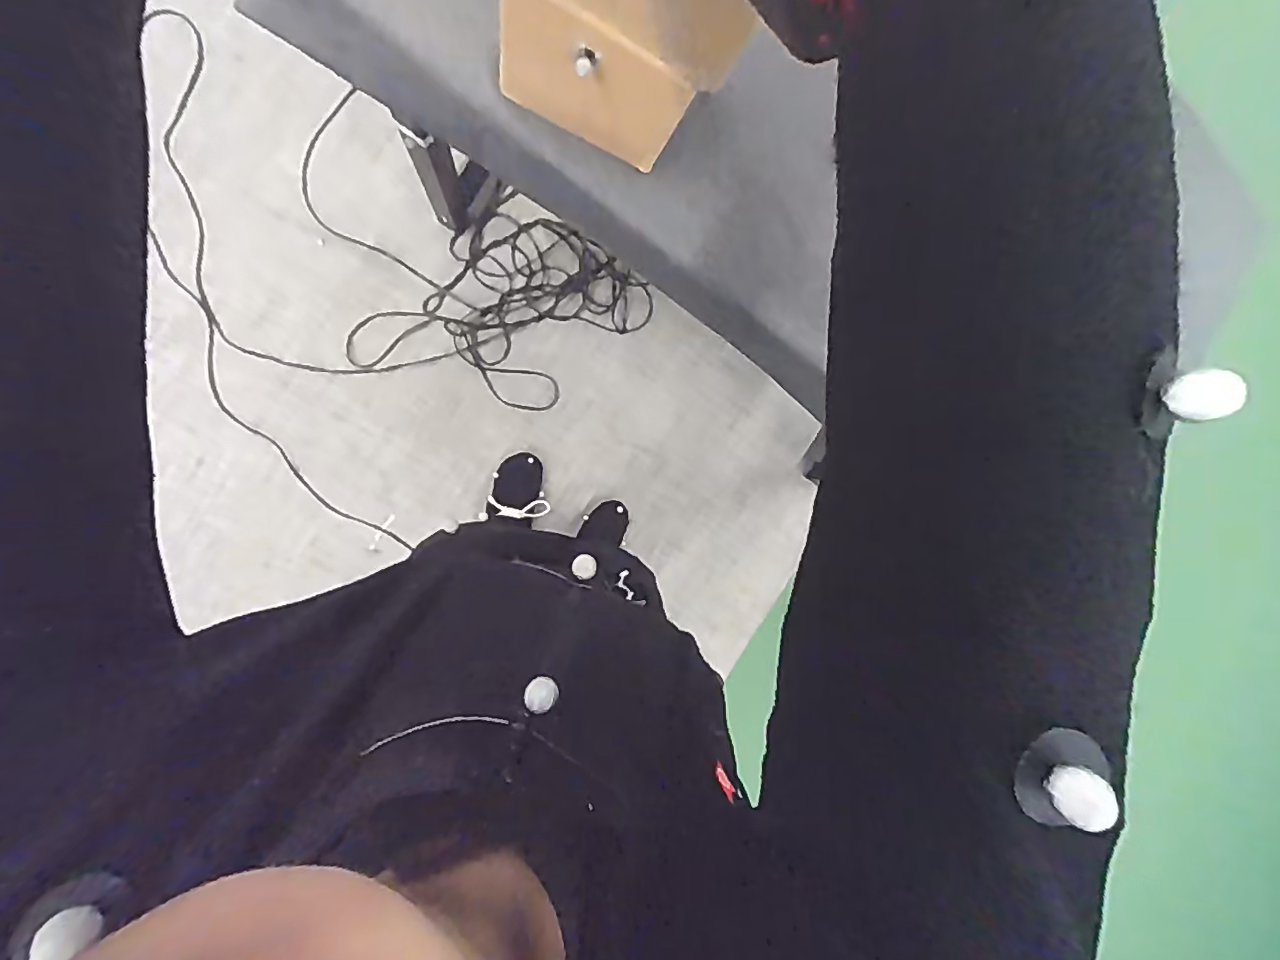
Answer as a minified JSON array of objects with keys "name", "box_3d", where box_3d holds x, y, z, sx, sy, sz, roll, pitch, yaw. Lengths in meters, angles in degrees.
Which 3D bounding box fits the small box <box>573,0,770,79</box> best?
[{"name":"small box","box_3d":[0.036,-0.419,0.353,0.179,0.176,0.168,22,92,-15]}]

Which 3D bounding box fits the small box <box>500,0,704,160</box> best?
[{"name":"small box","box_3d":[-0.018,-0.439,0.505,0.179,0.176,0.168,22,91,-15]}]
